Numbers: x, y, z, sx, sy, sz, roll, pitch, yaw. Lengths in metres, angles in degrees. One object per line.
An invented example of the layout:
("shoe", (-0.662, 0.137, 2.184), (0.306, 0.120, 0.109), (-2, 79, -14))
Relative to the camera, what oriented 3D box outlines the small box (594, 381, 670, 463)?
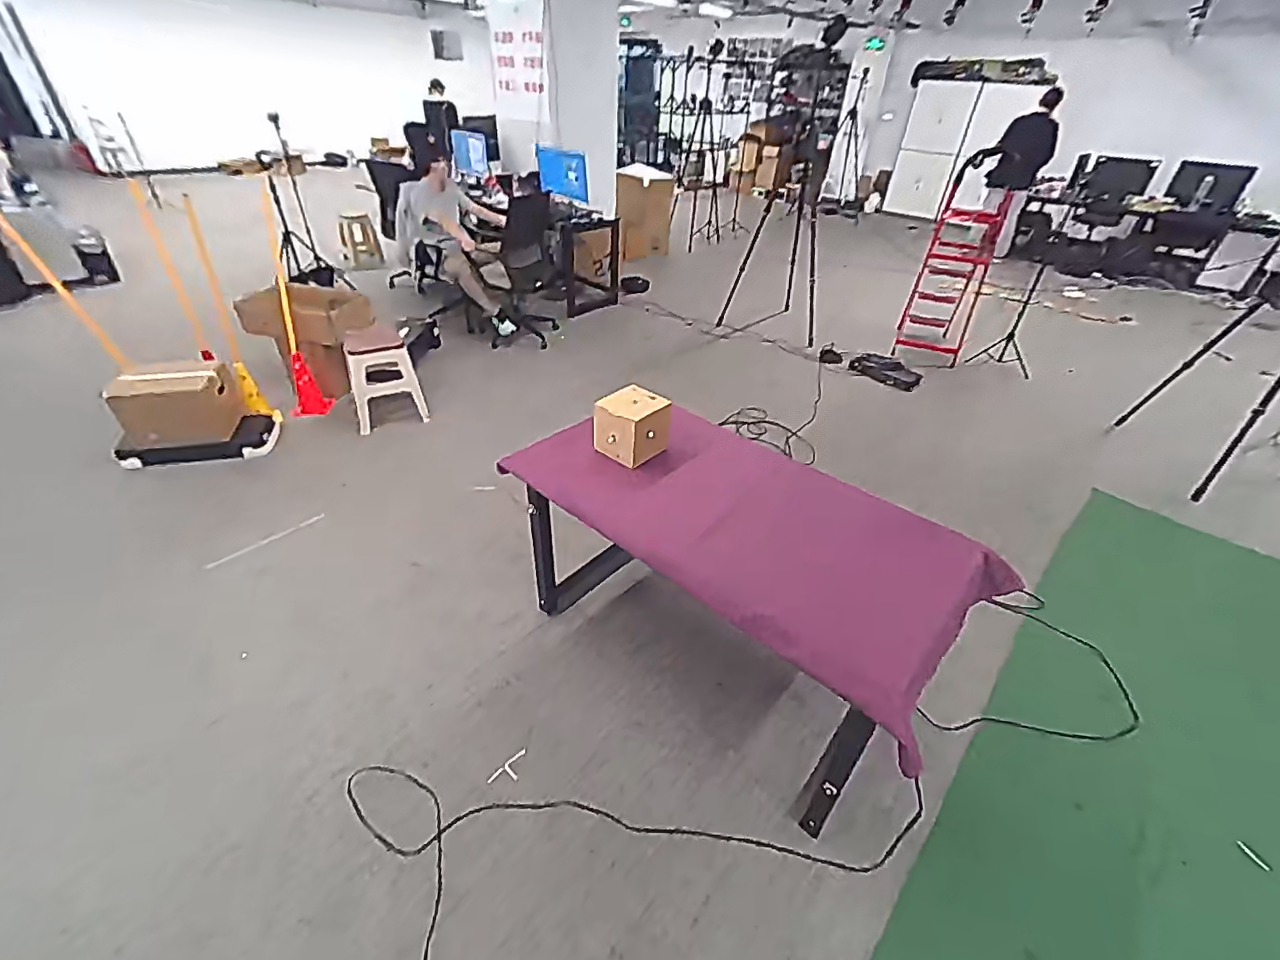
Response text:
("small box", (-0.024, -0.178, 1.672), (0.168, 0.176, 0.179), (29, 45, 30))
